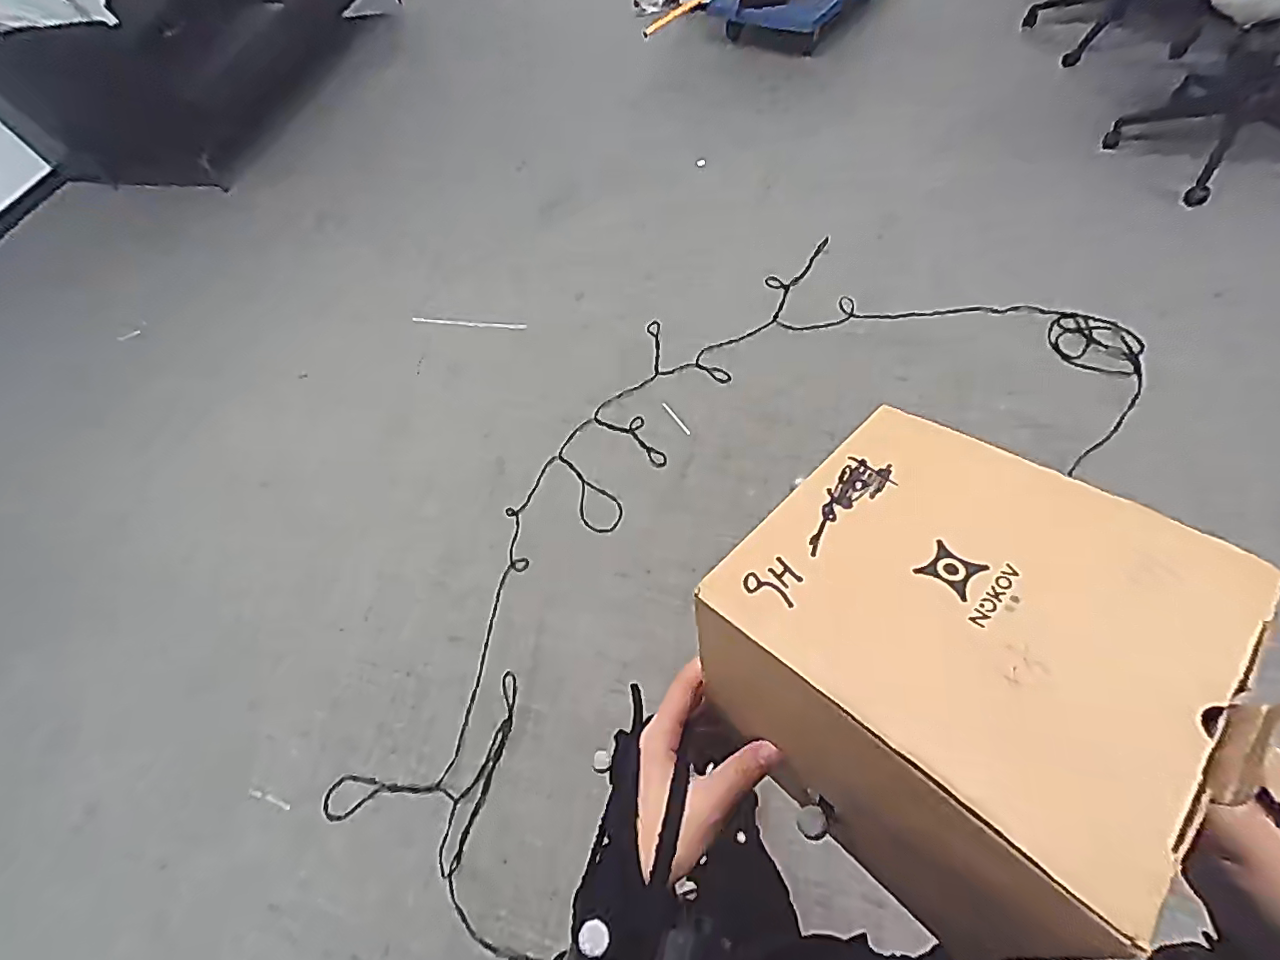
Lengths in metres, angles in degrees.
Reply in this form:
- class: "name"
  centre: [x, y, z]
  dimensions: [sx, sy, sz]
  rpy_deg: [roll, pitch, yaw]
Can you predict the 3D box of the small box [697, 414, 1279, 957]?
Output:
- class: "small box"
  centre: [0.152, 0.102, 0.293]
  dimensions: [0.168, 0.176, 0.179]
  rpy_deg: [-37, 52, -22]
